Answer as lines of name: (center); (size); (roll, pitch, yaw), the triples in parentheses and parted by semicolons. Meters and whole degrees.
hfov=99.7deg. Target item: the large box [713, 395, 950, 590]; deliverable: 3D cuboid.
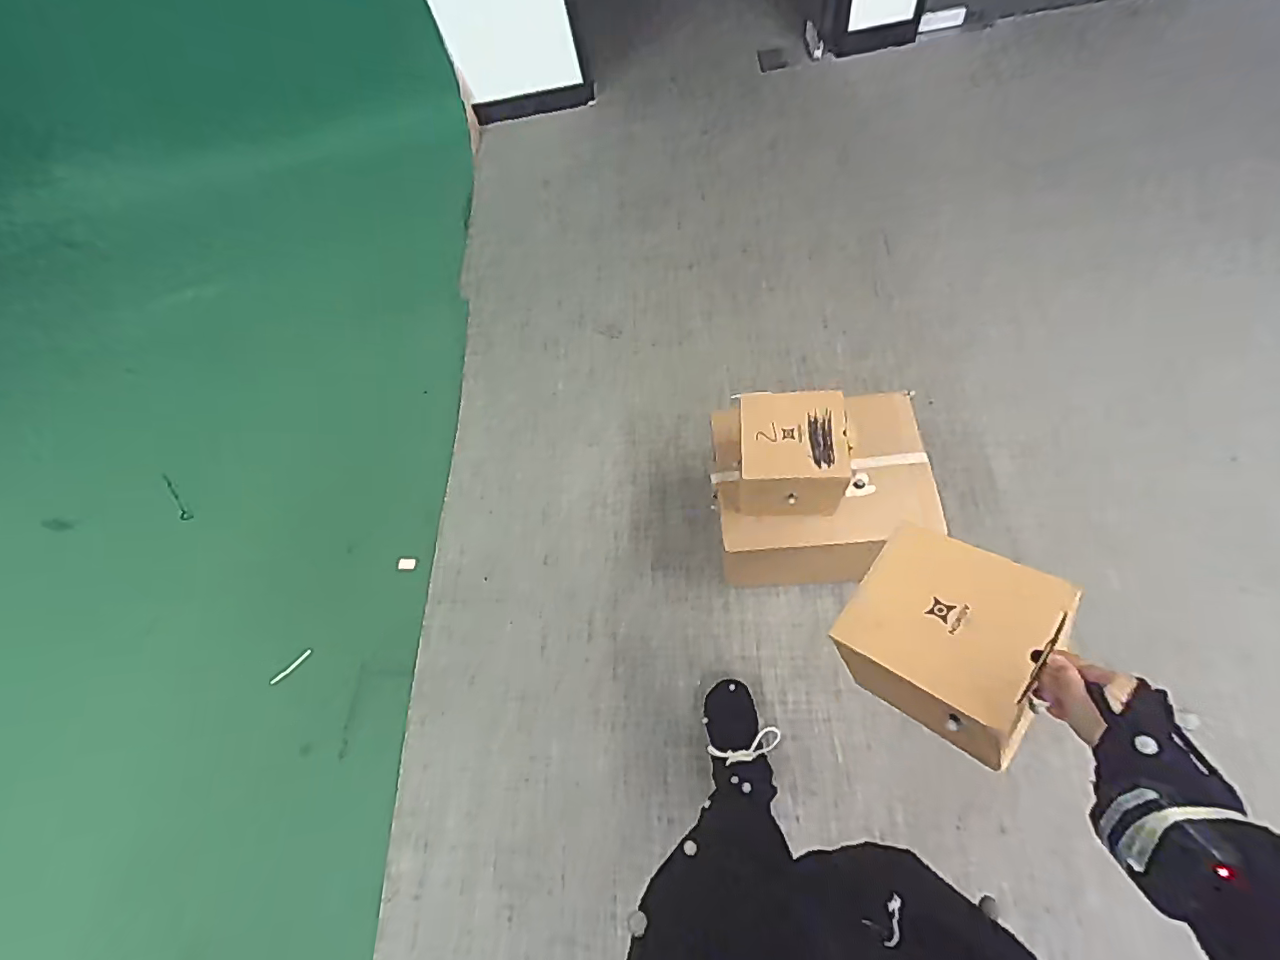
large box: (0.379, 0.046, 1.192); (0.408, 0.320, 0.320); (-5, 66, 6)

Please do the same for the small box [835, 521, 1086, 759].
small box: (0.352, 0.180, 0.606); (0.179, 0.176, 0.168); (27, 72, 43)
